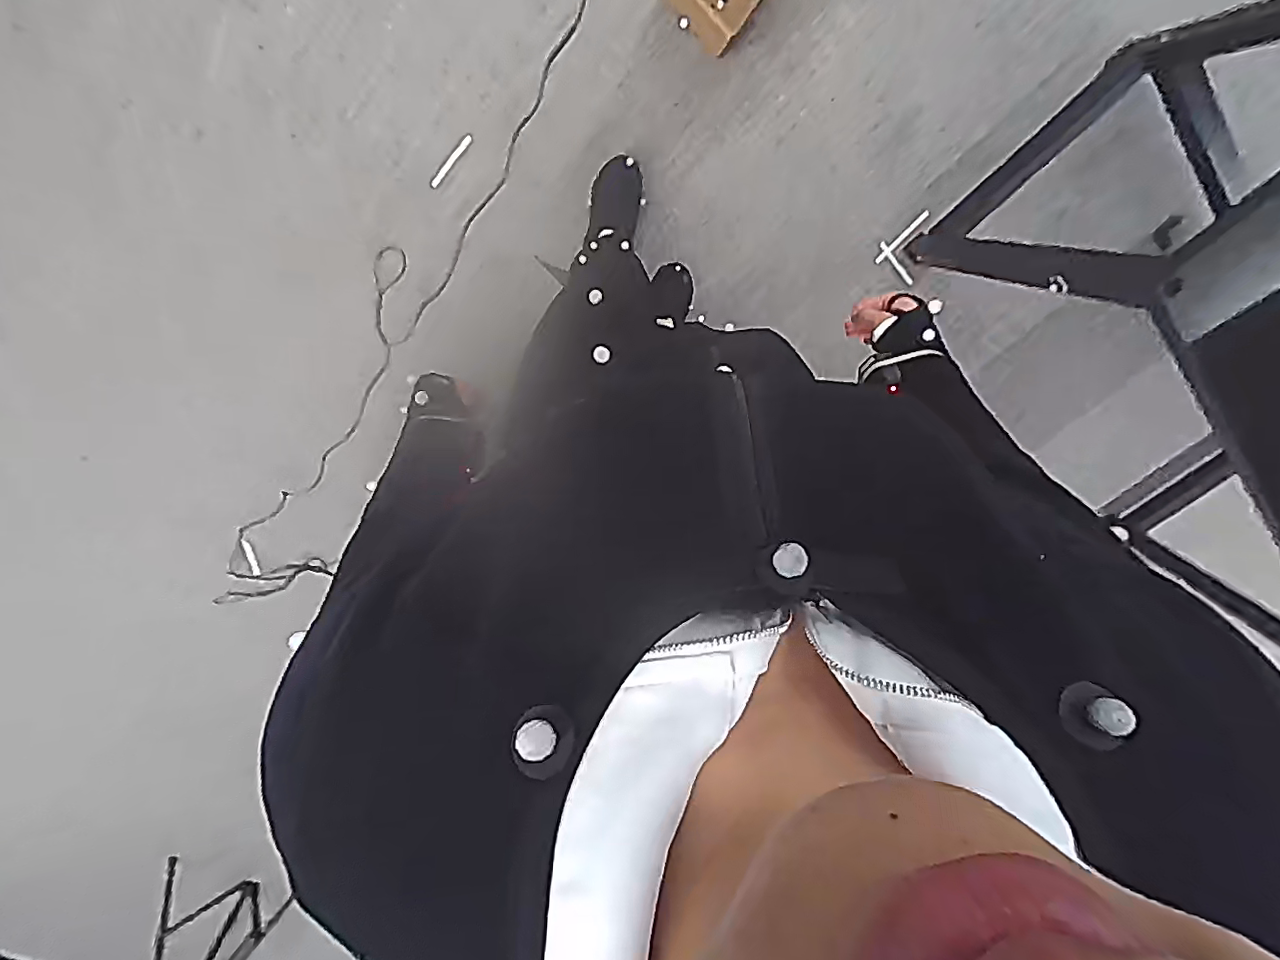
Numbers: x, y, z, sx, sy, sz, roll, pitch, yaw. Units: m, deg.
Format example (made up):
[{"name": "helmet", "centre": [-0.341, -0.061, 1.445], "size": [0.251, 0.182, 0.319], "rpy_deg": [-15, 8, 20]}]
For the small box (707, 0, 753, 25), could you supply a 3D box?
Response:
[{"name": "small box", "centre": [0.162, -0.902, 0.879], "size": [0.168, 0.176, 0.179], "rpy_deg": [33, 109, -18]}]

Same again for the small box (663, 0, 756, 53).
[{"name": "small box", "centre": [0.153, -0.969, 1.026], "size": [0.168, 0.176, 0.179], "rpy_deg": [37, 110, -18]}]
